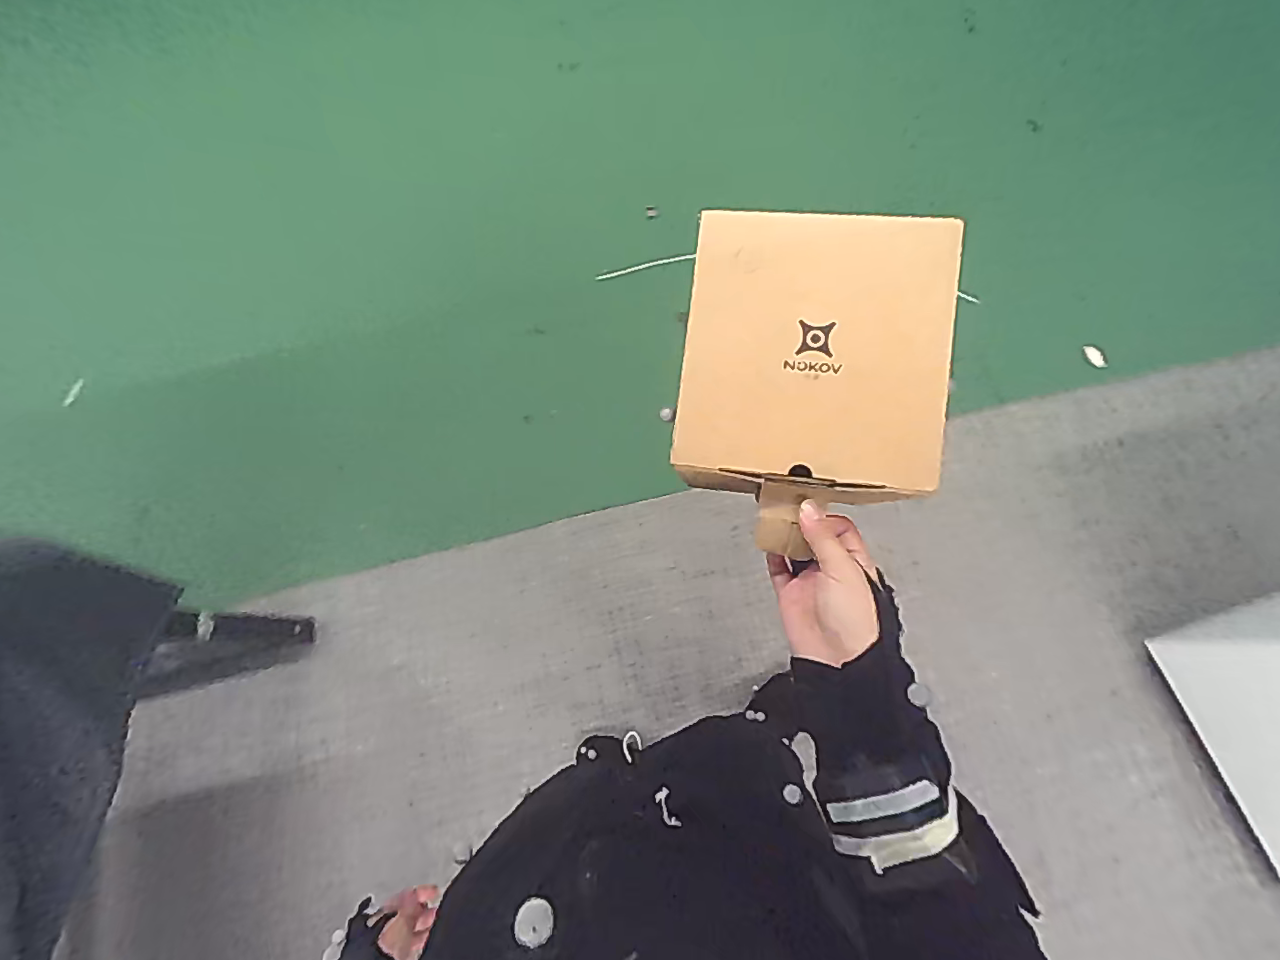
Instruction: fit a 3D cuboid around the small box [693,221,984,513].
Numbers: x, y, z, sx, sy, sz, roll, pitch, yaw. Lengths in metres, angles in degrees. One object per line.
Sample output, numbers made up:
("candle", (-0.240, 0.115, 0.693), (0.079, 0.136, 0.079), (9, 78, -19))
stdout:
("small box", (0.136, -0.072, 0.425), (0.168, 0.176, 0.179), (7, 87, 9))
